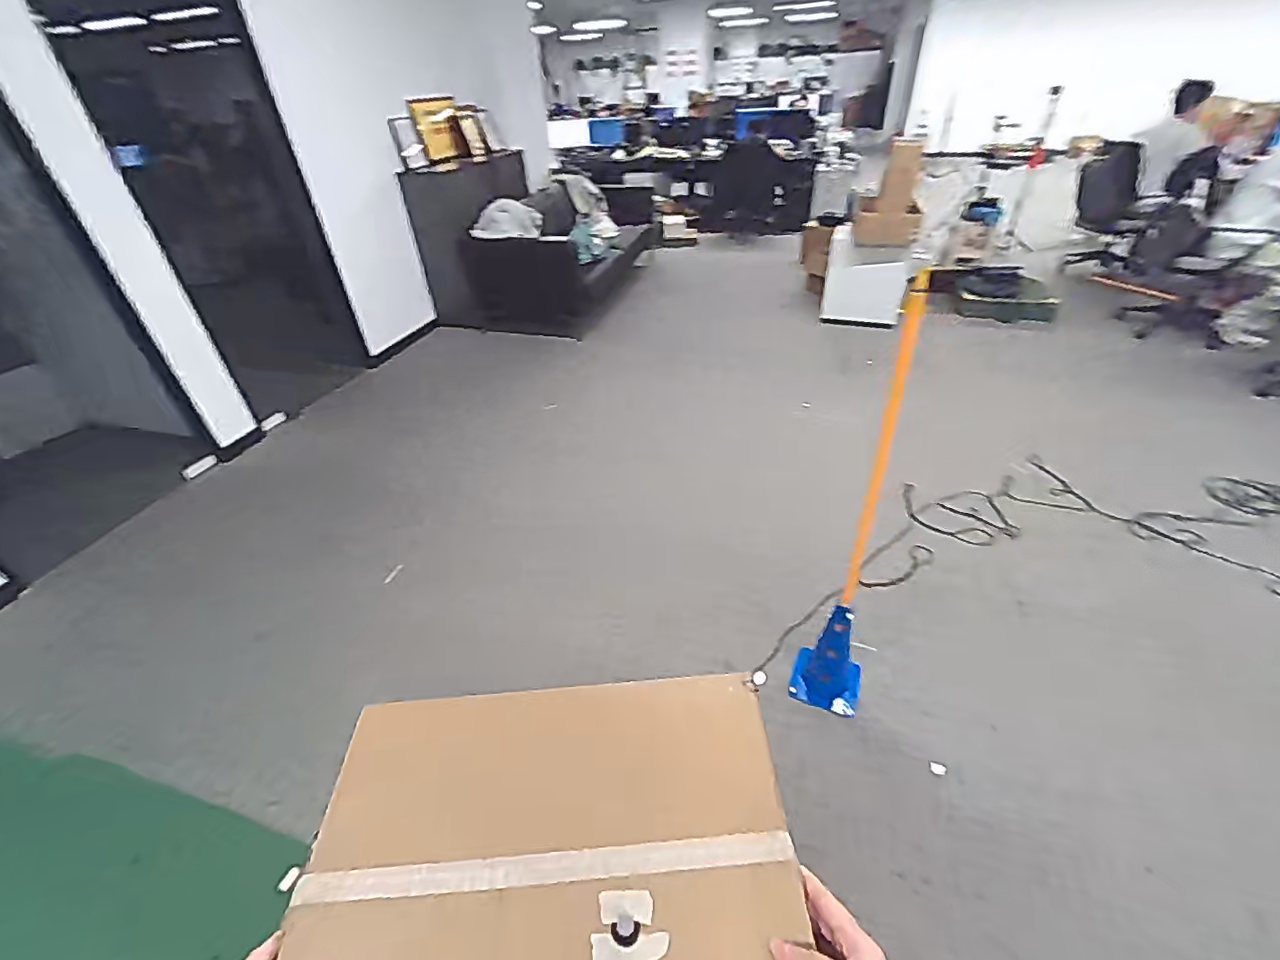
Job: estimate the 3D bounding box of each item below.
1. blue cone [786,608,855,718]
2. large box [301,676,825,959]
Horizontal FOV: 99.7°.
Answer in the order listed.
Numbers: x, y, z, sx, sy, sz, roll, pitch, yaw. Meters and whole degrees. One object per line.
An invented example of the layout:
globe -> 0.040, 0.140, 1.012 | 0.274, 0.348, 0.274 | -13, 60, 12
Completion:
blue cone -> 0.557, 0.505, 1.592 | 0.193, 0.380, 0.192 | 14, 40, 23
large box -> -0.058, 0.434, 0.549 | 0.408, 0.320, 0.320 | -4, 42, 0
